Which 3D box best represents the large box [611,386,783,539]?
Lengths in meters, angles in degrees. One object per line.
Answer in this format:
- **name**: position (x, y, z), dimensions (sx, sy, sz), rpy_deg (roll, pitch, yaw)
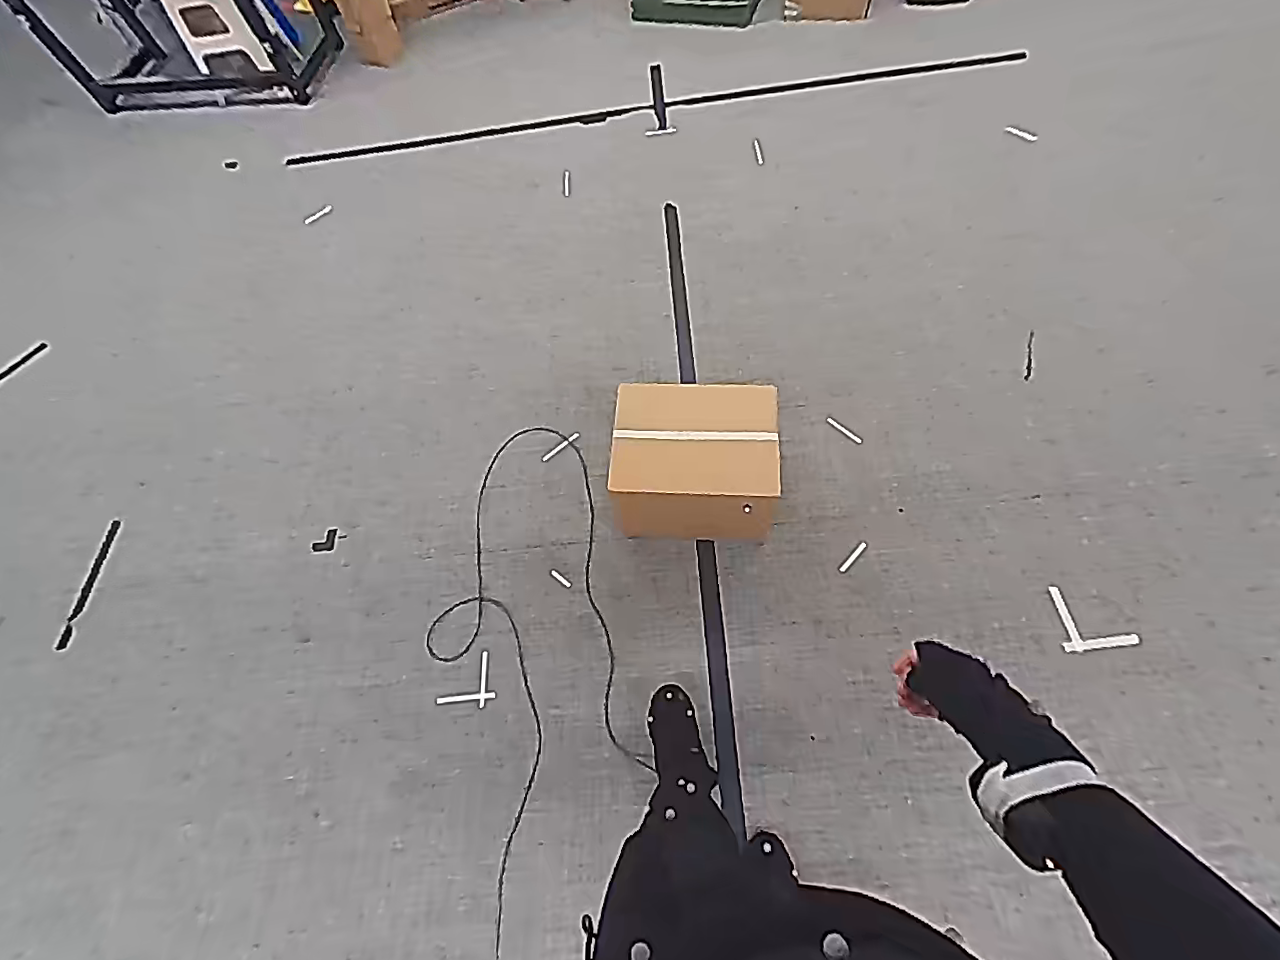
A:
- **large box**: position (0.151, -0.037, 1.448), dimensions (0.408, 0.320, 0.320), rpy_deg (1, 64, 6)
